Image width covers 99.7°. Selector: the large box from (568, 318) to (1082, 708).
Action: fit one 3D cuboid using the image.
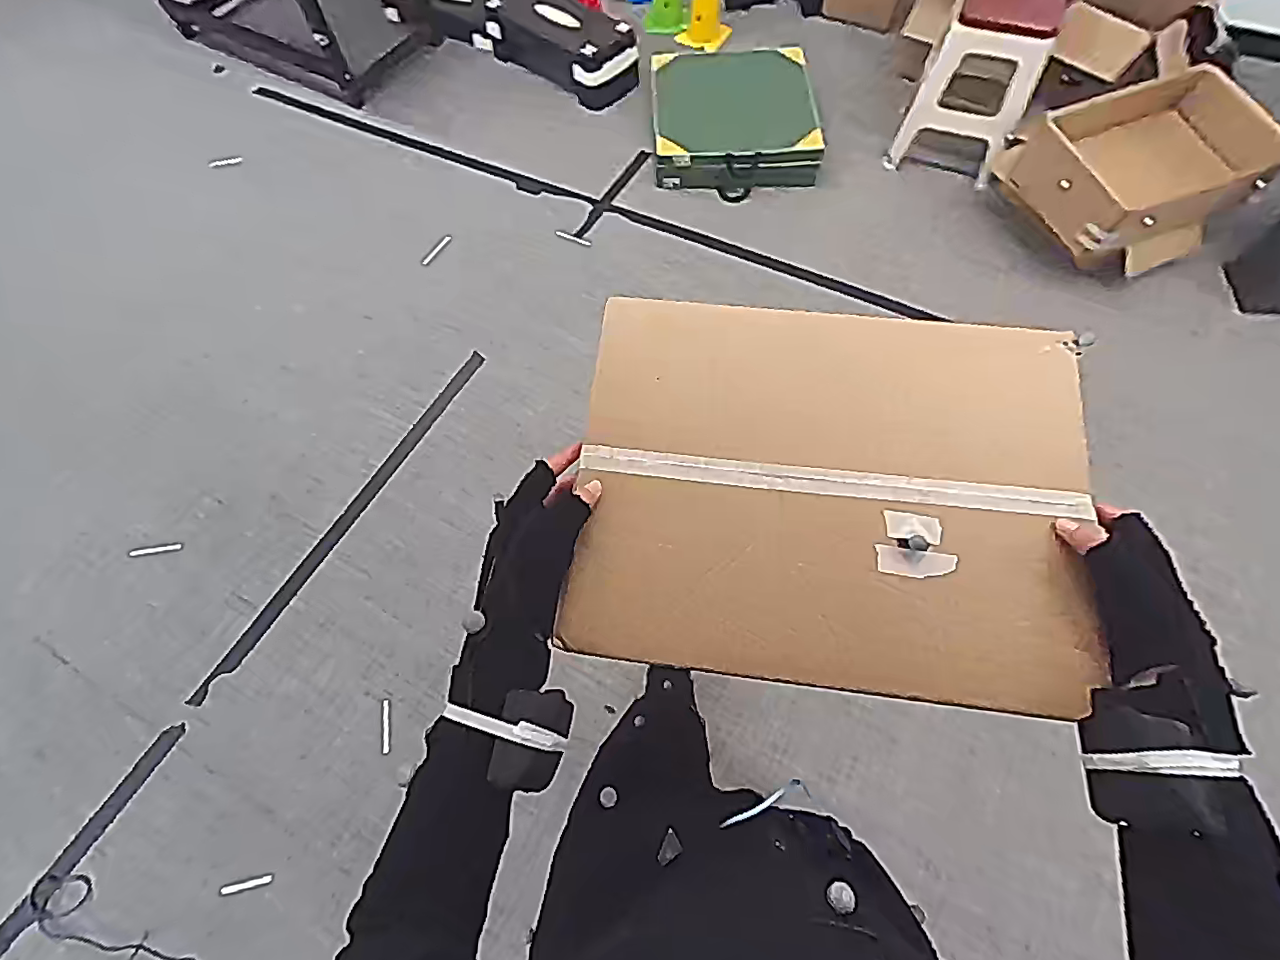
[{"bbox_3d":[0.159,0.049,0.603,0.408,0.320,0.320,6,75,5],"label":"large box"}]
